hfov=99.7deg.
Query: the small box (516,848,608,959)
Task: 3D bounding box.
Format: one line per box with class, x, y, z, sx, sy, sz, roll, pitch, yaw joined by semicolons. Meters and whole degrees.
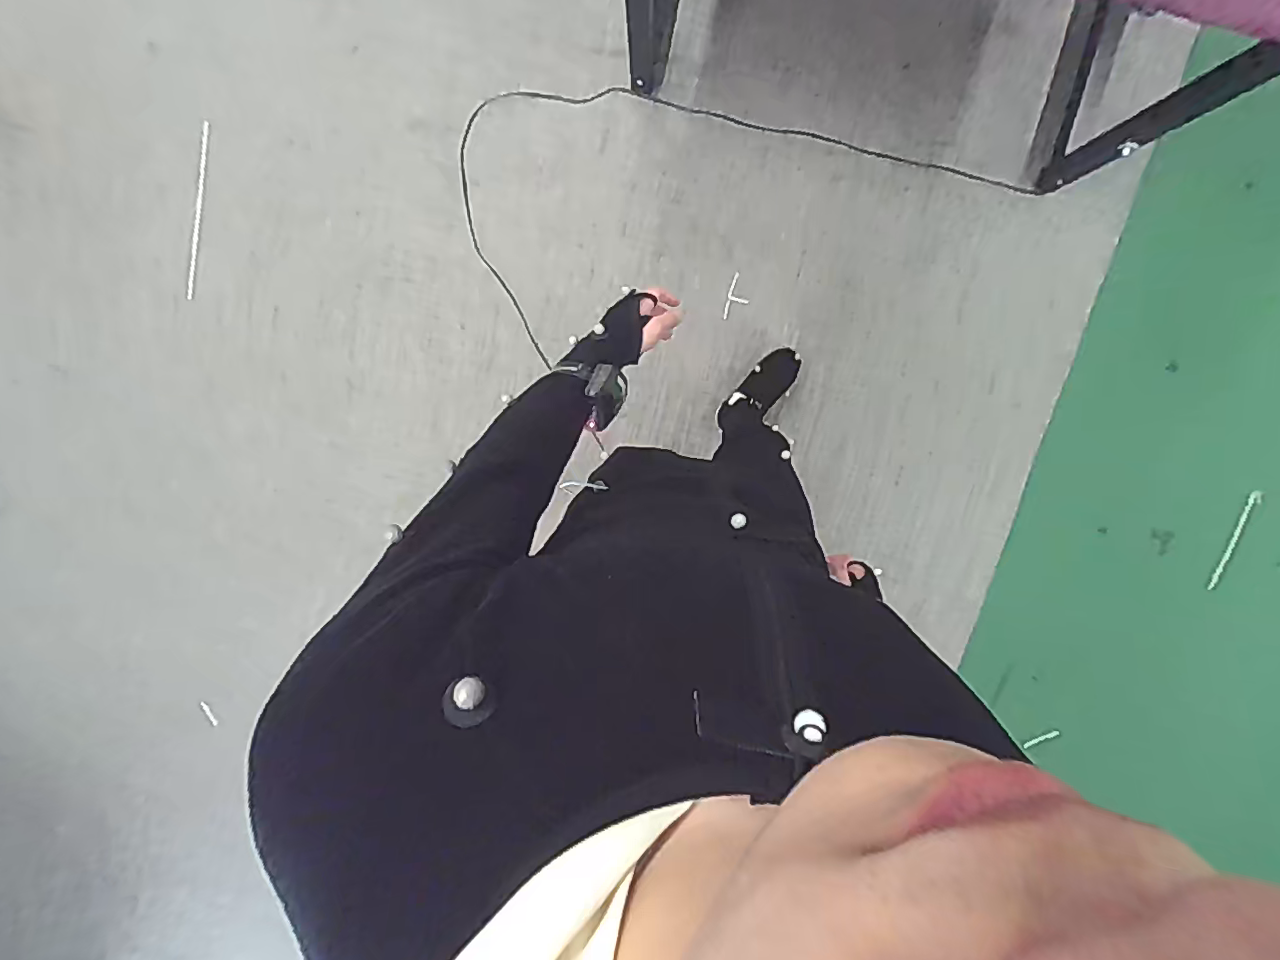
small box;-0.178;1.031;1.280;0.168;0.176;0.179;17;98;-1
